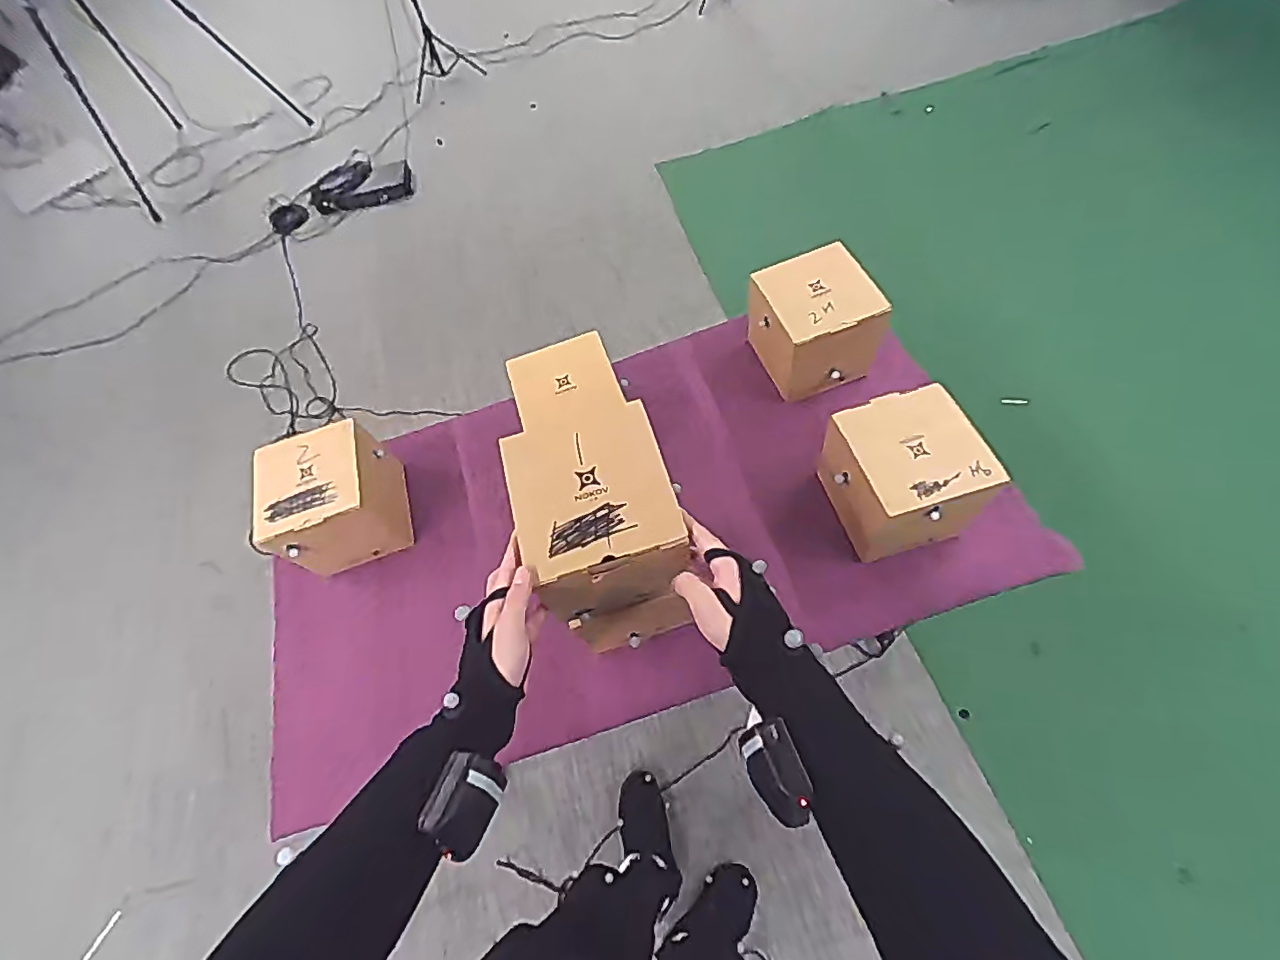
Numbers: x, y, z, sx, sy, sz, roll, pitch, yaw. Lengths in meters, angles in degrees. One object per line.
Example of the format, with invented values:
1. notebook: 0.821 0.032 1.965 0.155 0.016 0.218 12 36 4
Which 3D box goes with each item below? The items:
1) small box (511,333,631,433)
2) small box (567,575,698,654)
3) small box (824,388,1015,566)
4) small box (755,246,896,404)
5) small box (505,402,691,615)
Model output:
1. small box: -0.105 -0.114 0.929 0.168 0.176 0.179 -19 62 -3
2. small box: -0.021 0.131 0.783 0.168 0.176 0.179 -18 60 -1
3. small box: 0.389 0.001 0.794 0.168 0.176 0.179 -17 58 0
4. small box: 0.310 -0.266 0.949 0.168 0.176 0.179 -20 62 0
5. small box: -0.041 0.044 0.622 0.168 0.176 0.179 -16 62 -3
